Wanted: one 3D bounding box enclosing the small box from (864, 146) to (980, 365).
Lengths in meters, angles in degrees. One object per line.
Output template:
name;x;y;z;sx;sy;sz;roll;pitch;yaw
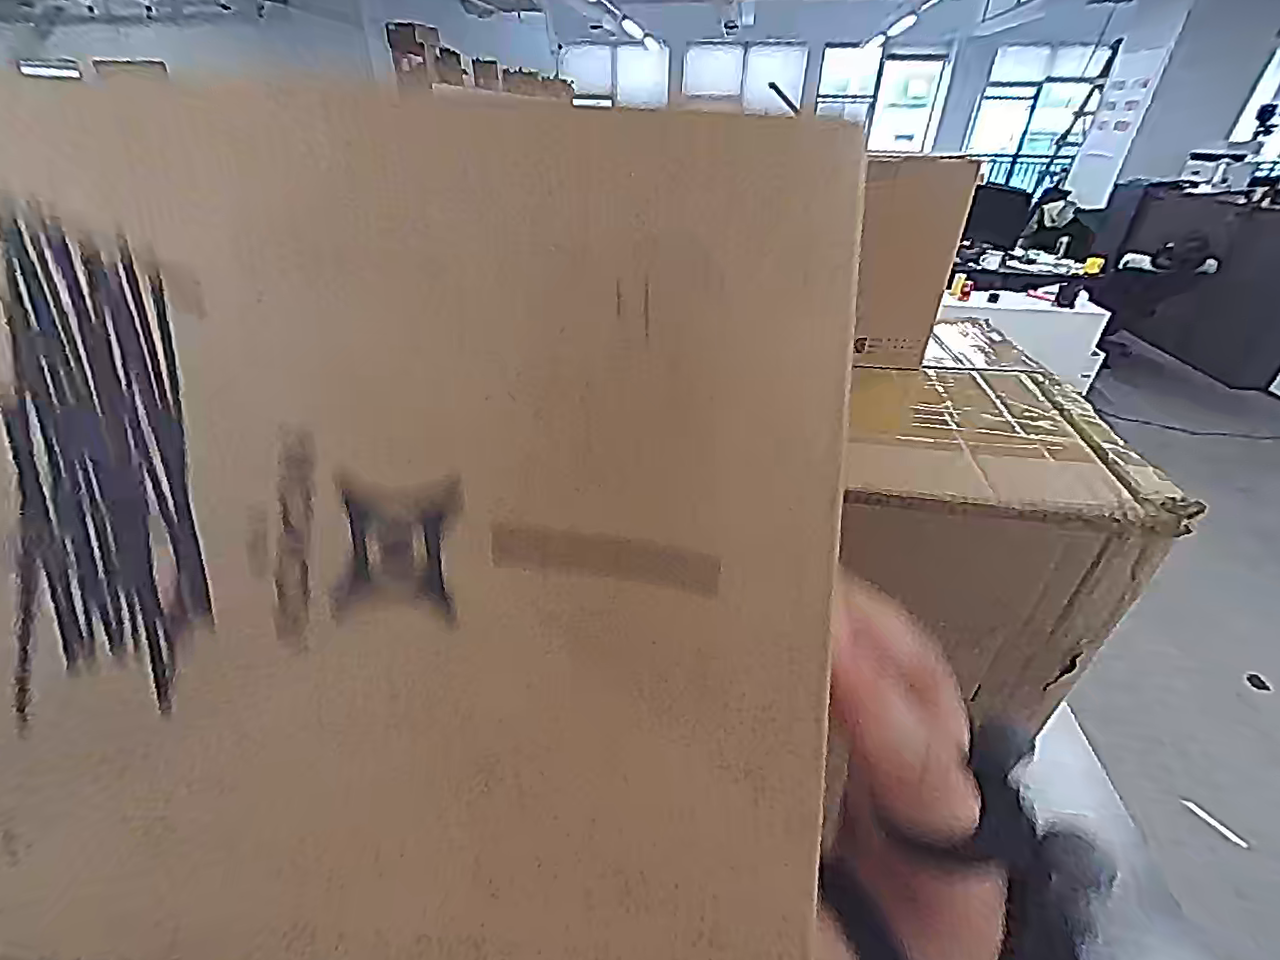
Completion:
small box;0.182;-0.222;0.521;0.168;0.176;0.179;4;32;6
